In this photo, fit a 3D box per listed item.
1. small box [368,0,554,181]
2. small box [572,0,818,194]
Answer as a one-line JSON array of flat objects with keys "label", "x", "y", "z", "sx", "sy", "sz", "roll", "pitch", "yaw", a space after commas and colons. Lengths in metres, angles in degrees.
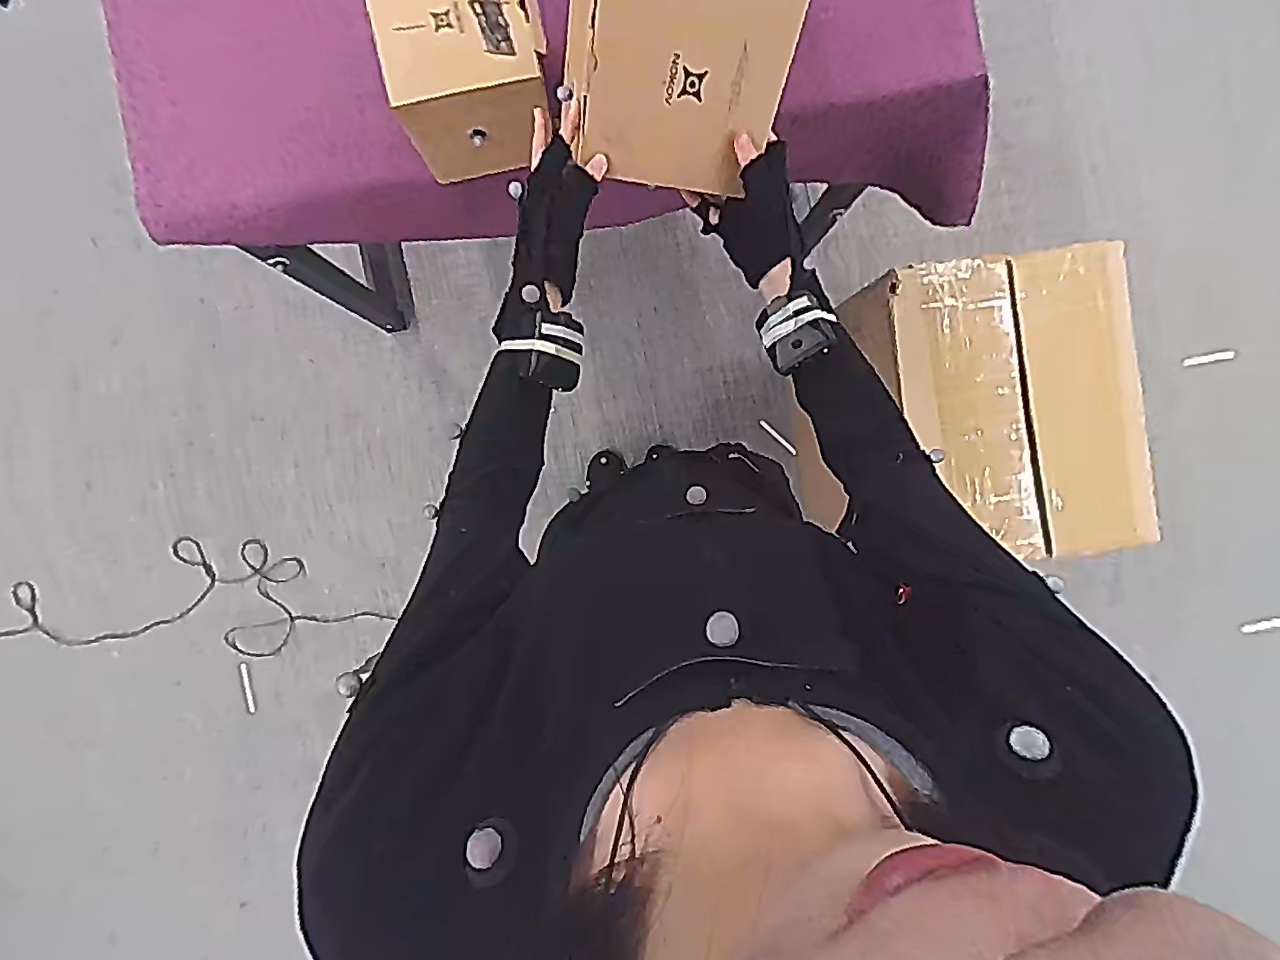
[{"label": "small box", "x": -0.213, "y": -0.516, "z": 0.688, "sx": 0.179, "sy": 0.176, "sz": 0.168, "roll": -13, "pitch": 91, "yaw": 0}, {"label": "small box", "x": 0.034, "y": -0.399, "z": 0.516, "sx": 0.179, "sy": 0.176, "sz": 0.168, "roll": -1, "pitch": 136, "yaw": -16}]
